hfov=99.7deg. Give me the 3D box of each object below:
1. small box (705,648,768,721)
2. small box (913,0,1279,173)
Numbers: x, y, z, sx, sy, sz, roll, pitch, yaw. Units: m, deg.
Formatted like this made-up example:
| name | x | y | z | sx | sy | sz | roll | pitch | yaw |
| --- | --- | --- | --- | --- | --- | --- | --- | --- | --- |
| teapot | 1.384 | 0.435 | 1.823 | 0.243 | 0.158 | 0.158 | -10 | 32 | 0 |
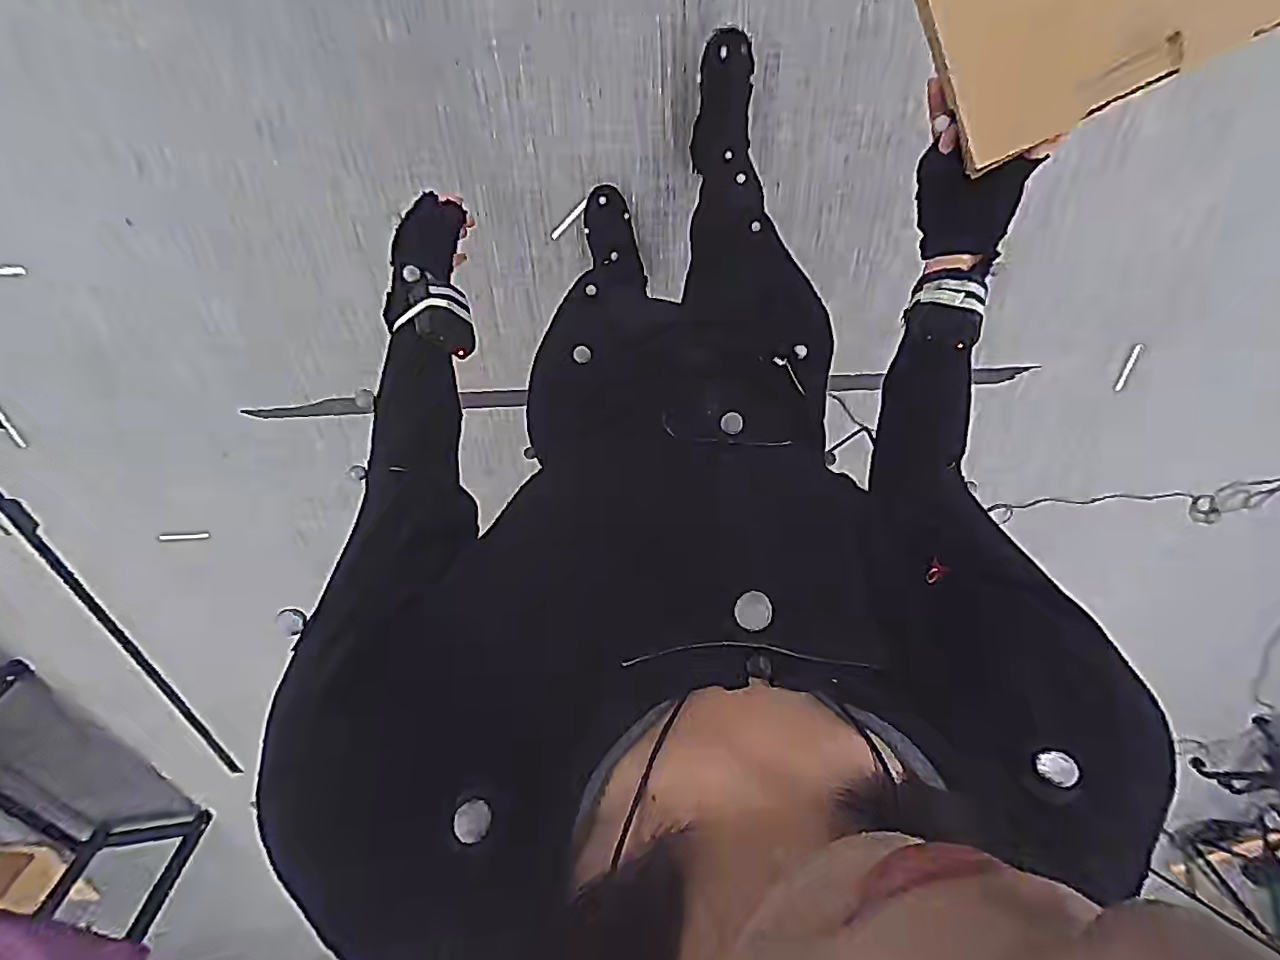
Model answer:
| name | x | y | z | sx | sy | sz | roll | pitch | yaw |
| --- | --- | --- | --- | --- | --- | --- | --- | --- | --- |
| small box | 0.317 | 0.684 | 1.817 | 0.179 | 0.176 | 0.168 | -4 | 124 | -2 |
| small box | 0.288 | -0.339 | 0.365 | 0.168 | 0.179 | 0.176 | -16 | 107 | 34 |
